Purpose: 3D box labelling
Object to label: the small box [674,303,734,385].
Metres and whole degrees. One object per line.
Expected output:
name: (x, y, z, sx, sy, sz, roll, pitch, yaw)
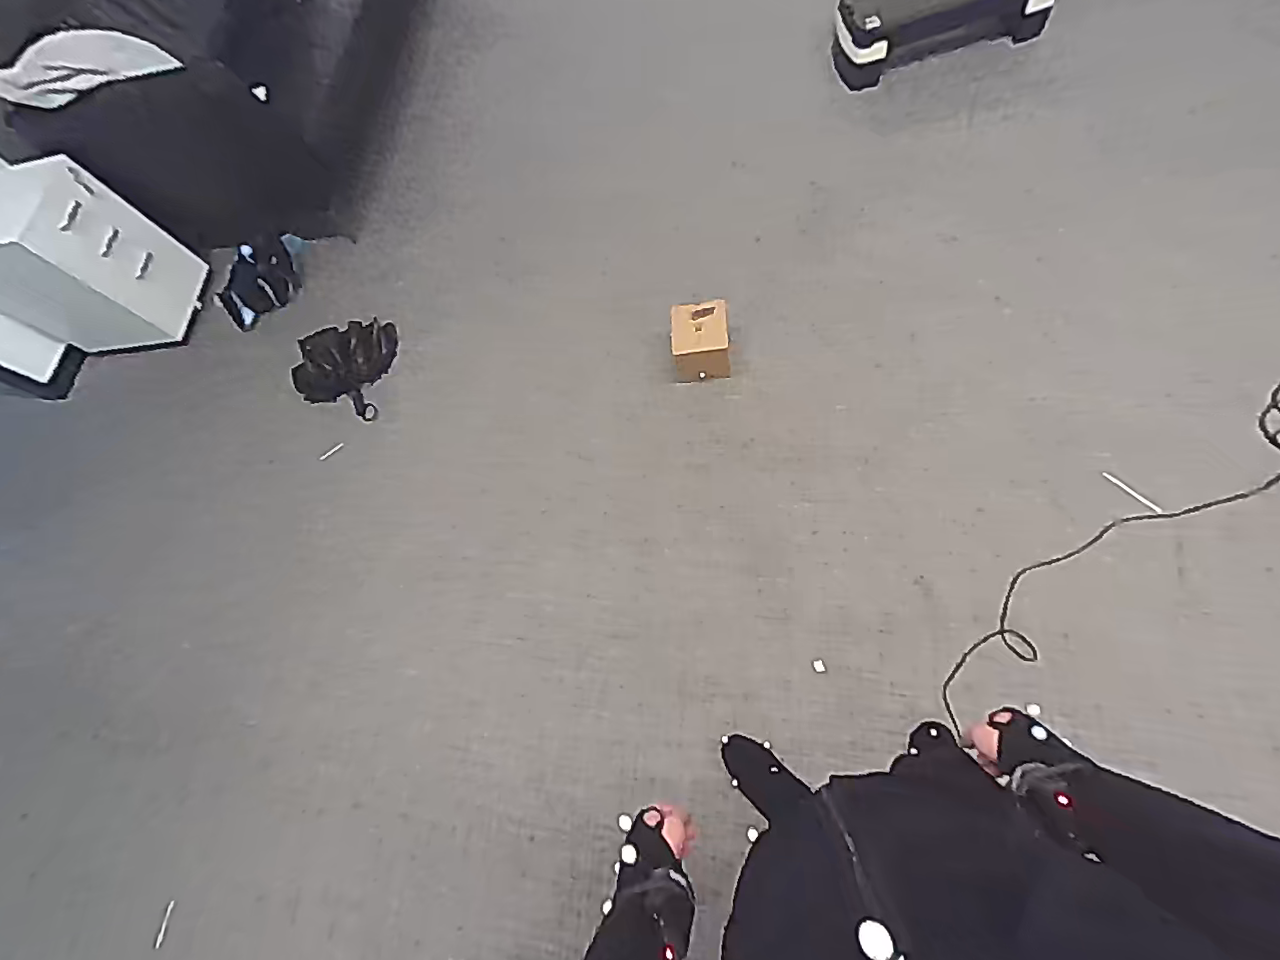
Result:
small box: (0.200, -0.417, 1.675, 0.168, 0.176, 0.179, -5, 69, 12)
